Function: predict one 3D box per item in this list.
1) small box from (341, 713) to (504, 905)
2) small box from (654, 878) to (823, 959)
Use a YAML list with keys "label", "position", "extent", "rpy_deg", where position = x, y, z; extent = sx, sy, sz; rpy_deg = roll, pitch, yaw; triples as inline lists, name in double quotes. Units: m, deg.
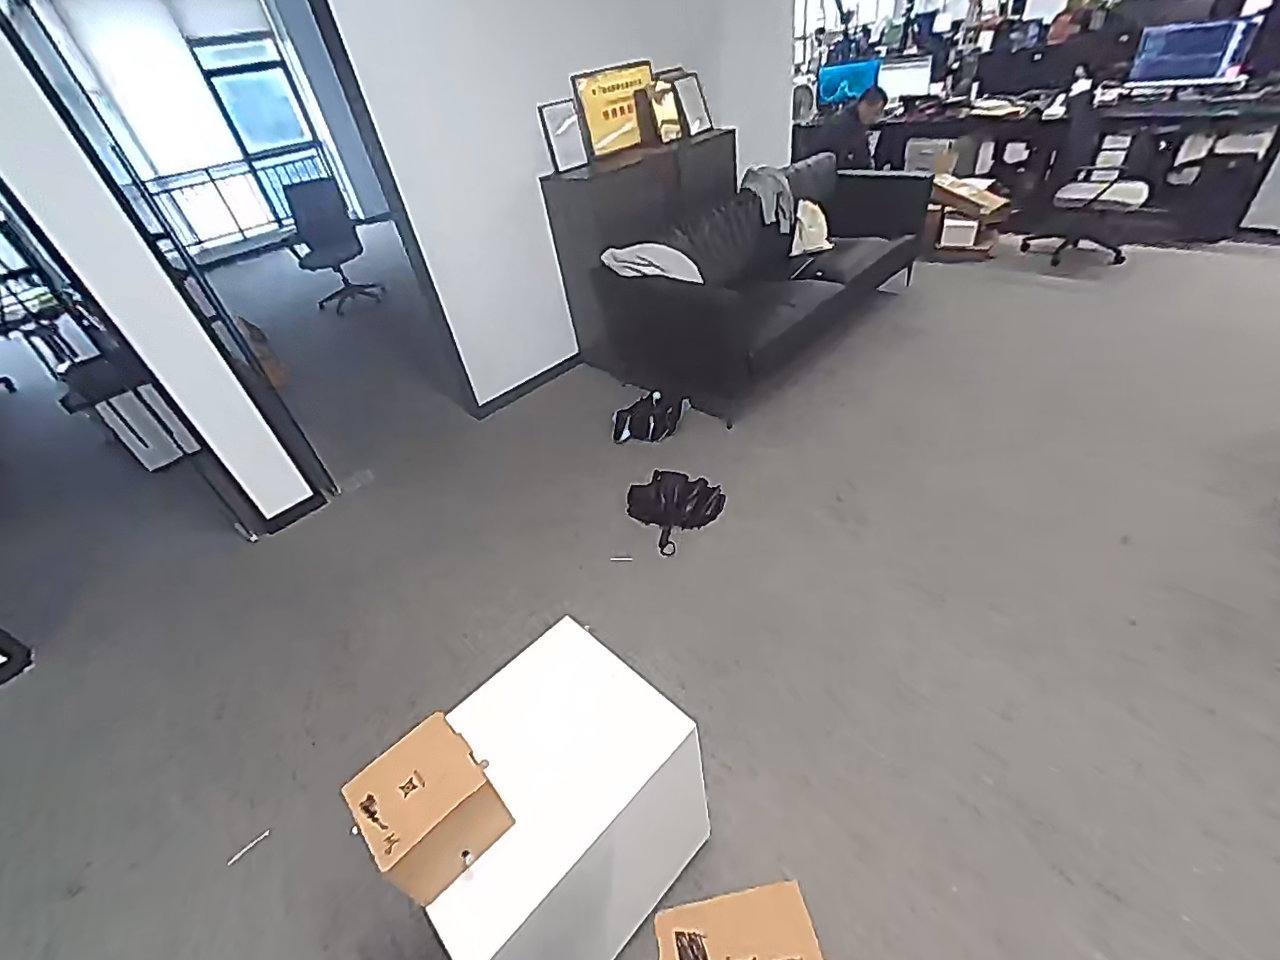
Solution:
- label: "small box"
  position: [-0.341, 0.532, 0.881]
  extent: [0.179, 0.176, 0.168]
  rpy_deg: [-34, 44, -30]
- label: "small box"
  position: [0.120, 0.580, 0.574]
  extent: [0.179, 0.176, 0.168]
  rpy_deg: [-13, 13, 1]
